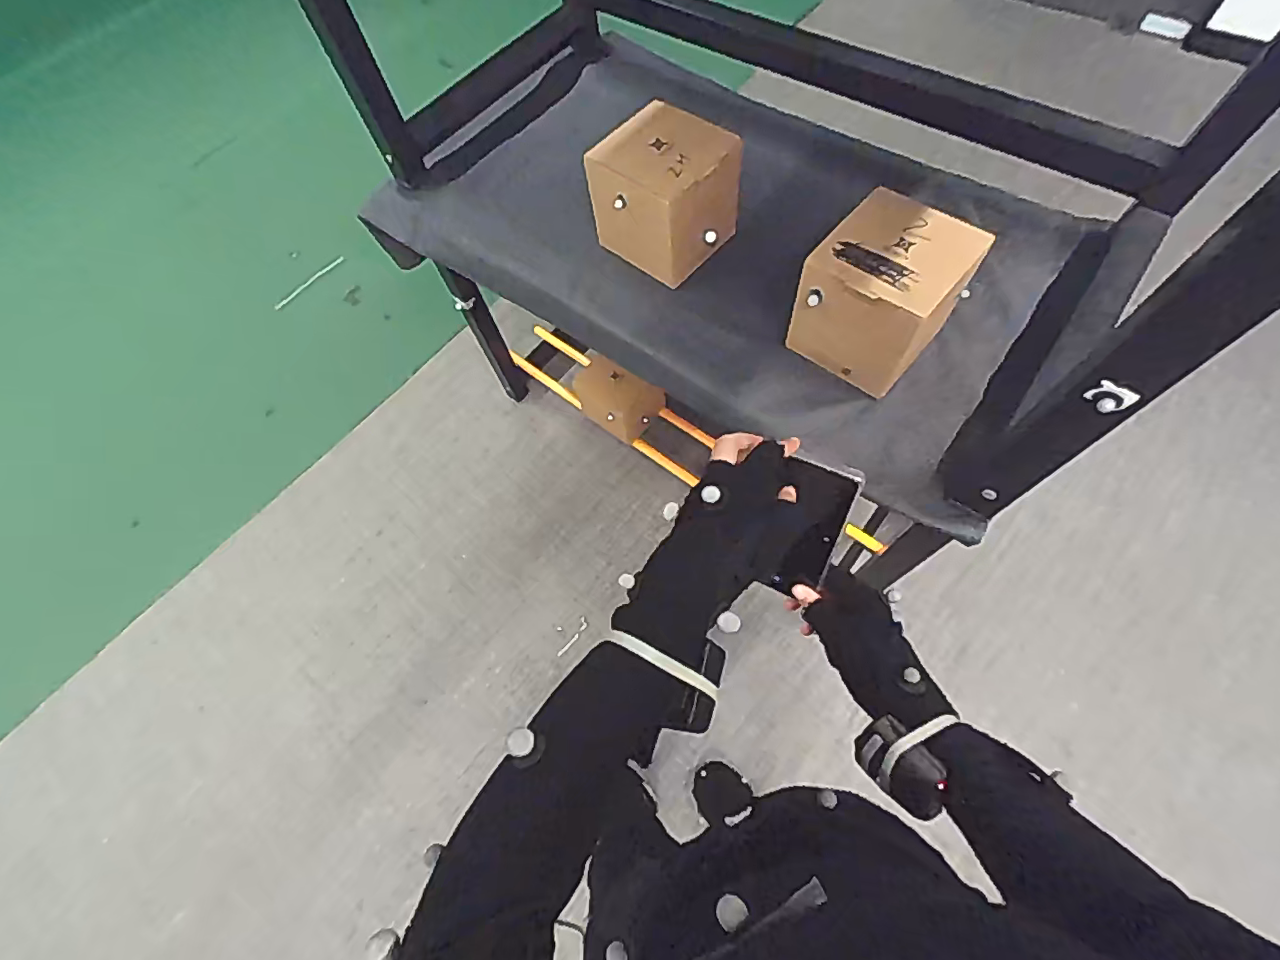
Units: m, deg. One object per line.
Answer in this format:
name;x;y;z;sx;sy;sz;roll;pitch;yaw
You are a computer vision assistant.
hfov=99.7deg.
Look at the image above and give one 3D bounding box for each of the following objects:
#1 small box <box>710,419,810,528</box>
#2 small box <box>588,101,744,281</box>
small box;0.290;-0.008;1.331;0.168;0.176;0.179;39;75;20
small box;0.043;-0.460;0.875;0.179;0.176;0.168;39;74;20
